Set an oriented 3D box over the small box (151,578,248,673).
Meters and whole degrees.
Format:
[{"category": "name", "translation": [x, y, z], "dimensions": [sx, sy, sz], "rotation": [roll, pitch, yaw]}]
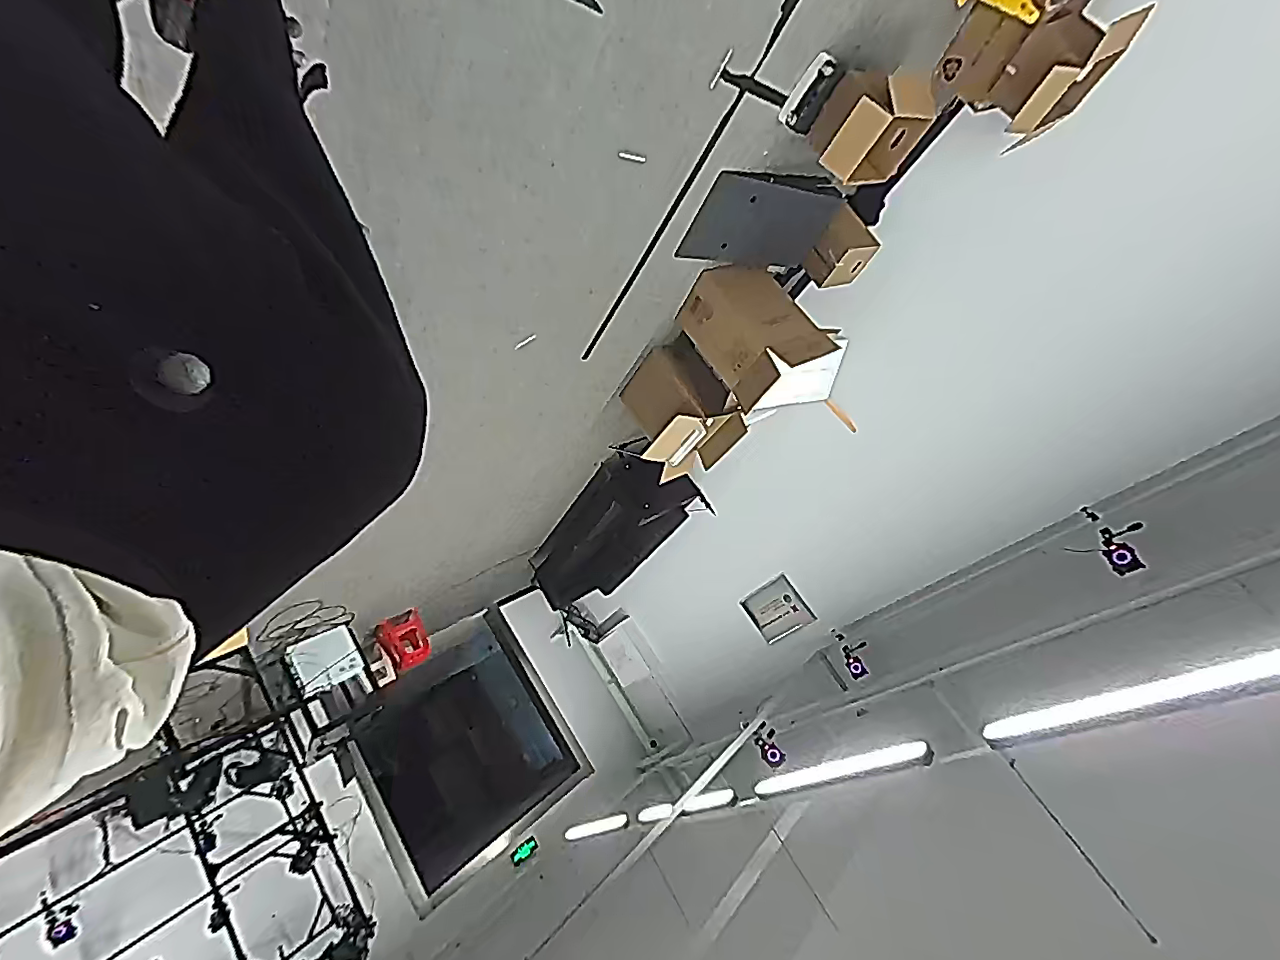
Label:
[{"category": "small box", "translation": [-1.220, 0.401, 1.504], "dimensions": [0.168, 0.176, 0.179], "rotation": [-23, 161, -42]}]
